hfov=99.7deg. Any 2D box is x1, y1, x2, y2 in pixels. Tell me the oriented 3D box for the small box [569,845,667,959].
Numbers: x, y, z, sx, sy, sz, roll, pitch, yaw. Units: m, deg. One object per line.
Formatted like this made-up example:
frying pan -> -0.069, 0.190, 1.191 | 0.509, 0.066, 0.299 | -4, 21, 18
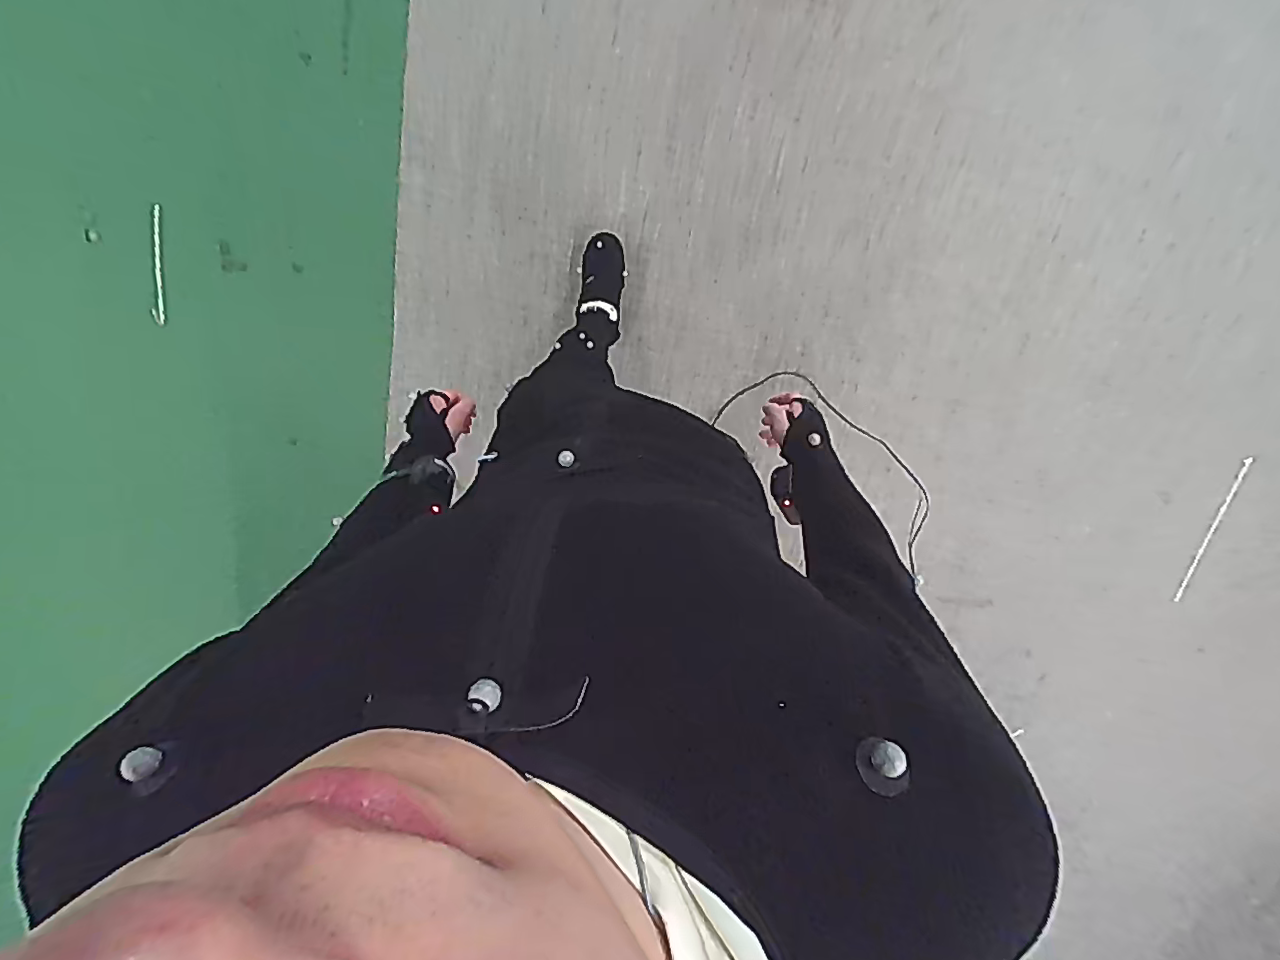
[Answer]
small box -> -0.045, 0.856, 1.053 | 0.168, 0.176, 0.179 | 9, 107, -1
